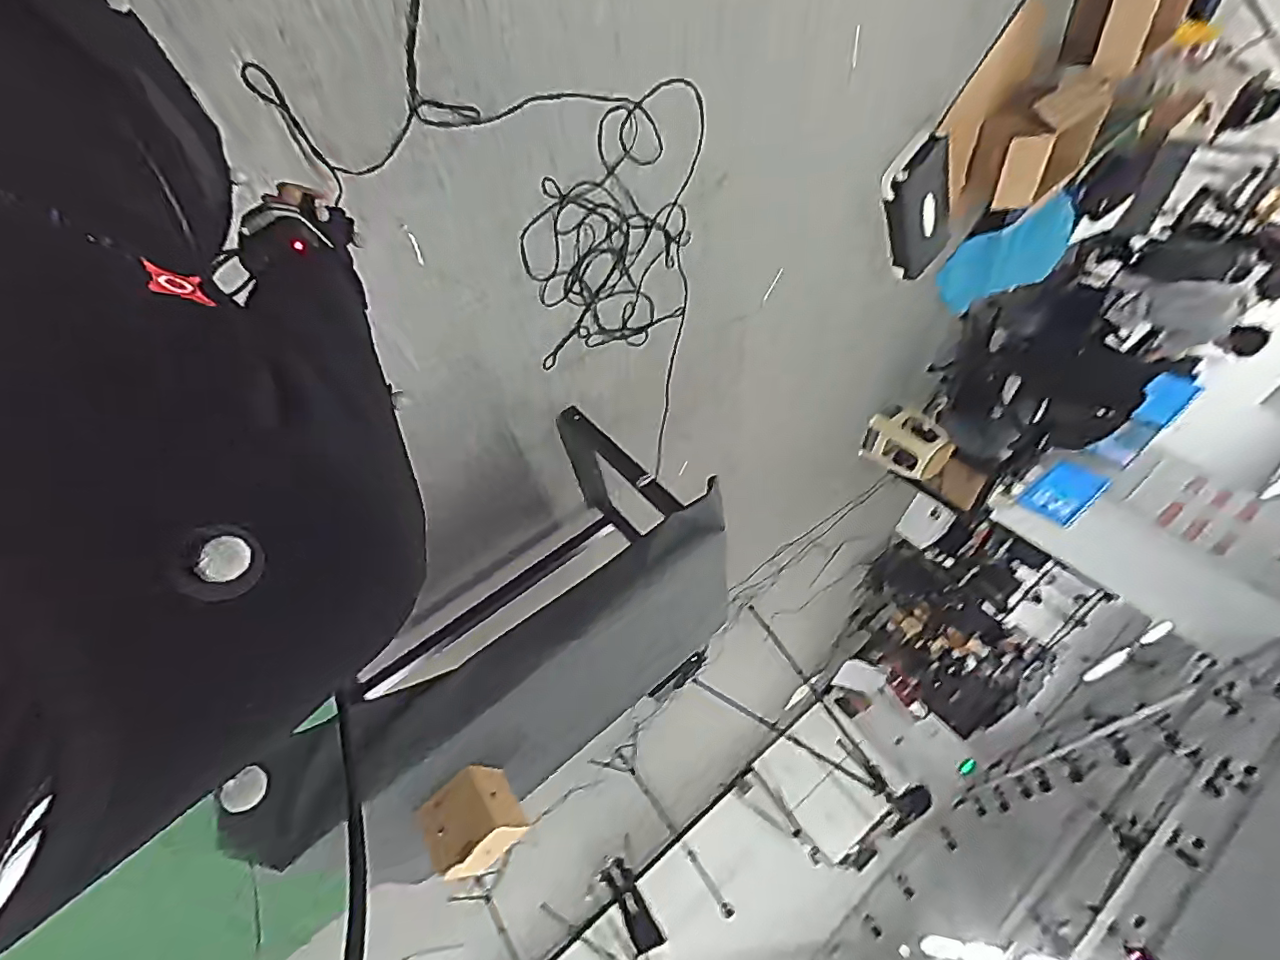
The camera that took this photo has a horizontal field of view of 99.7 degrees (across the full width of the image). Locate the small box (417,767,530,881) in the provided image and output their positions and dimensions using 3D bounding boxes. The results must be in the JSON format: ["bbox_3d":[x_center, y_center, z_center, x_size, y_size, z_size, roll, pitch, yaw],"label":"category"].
[{"bbox_3d":[-0.408,0.831,1.322,0.168,0.176,0.179,-40,147,-8],"label":"small box"}]
